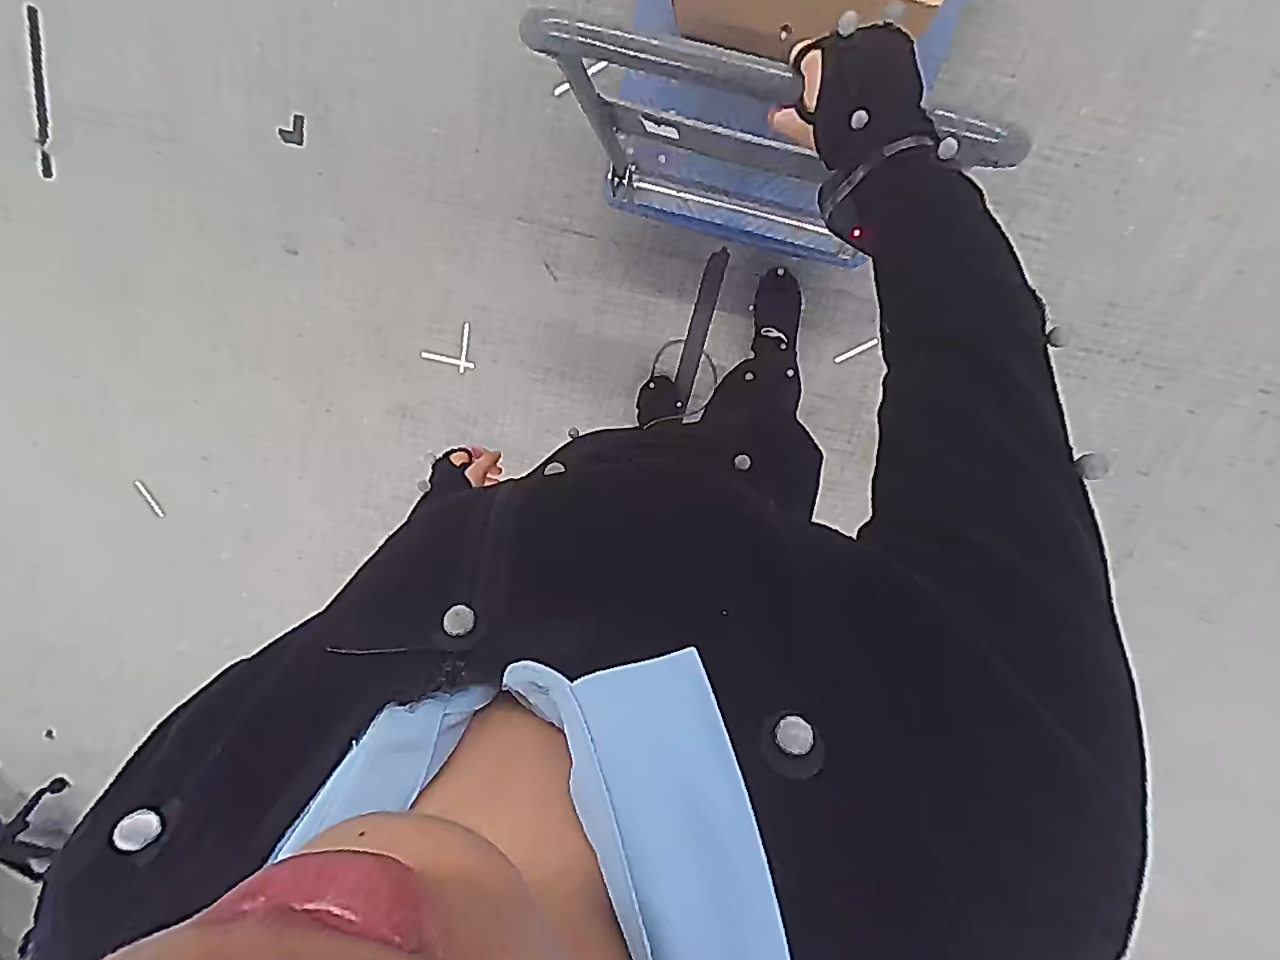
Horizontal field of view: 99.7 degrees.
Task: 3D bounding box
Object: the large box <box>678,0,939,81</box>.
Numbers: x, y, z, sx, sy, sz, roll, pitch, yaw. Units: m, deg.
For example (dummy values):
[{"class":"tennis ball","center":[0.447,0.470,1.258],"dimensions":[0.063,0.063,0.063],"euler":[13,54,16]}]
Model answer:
[{"class":"large box","center":[0.287,-0.899,0.848],"dimensions":[0.408,0.320,0.320],"euler":[18,109,3]}]
